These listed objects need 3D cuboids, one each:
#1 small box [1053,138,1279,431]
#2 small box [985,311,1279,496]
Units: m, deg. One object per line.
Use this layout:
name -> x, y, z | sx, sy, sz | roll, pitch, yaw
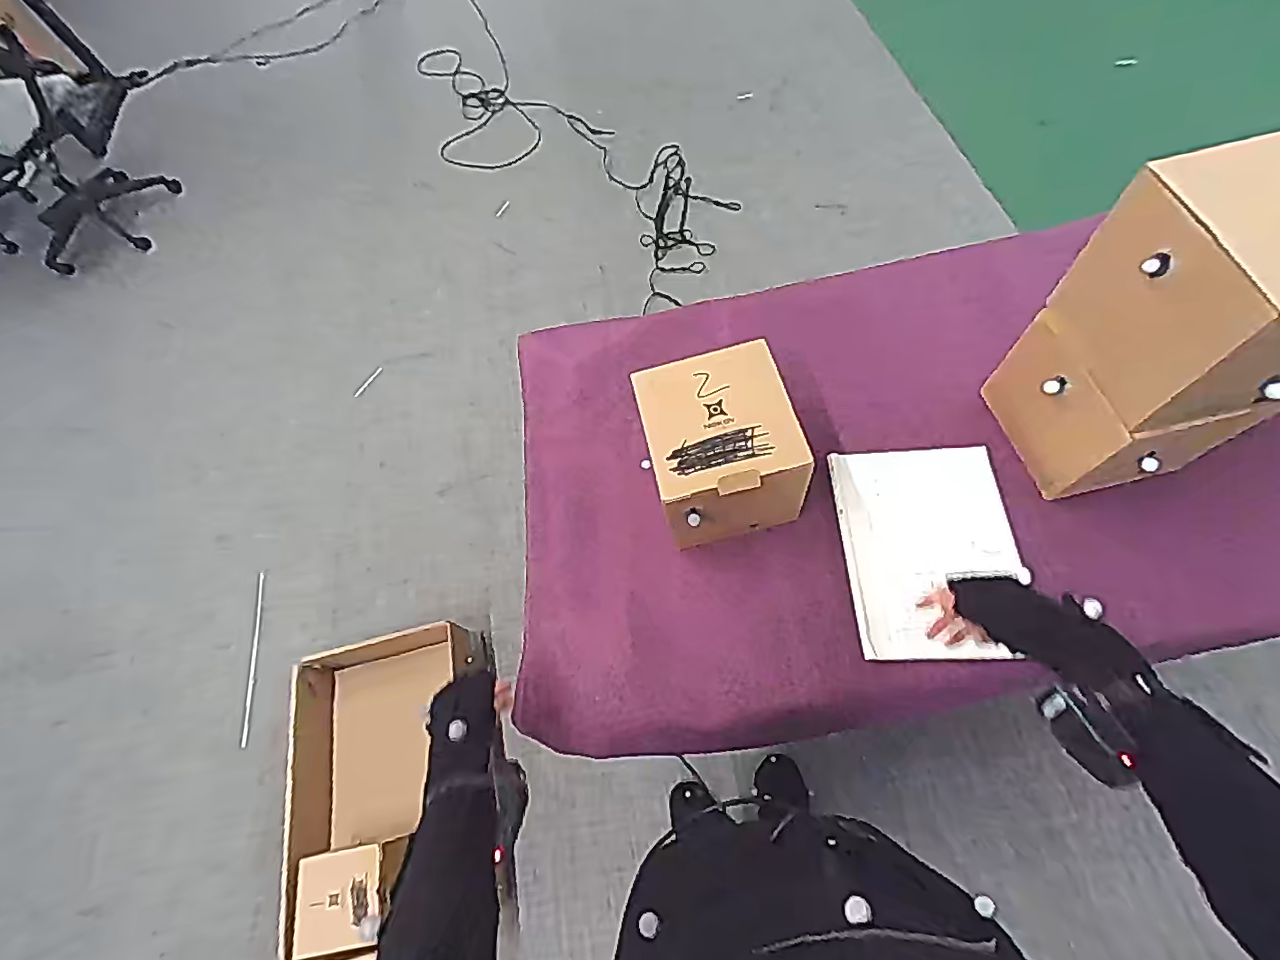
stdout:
small box -> 0.529, -0.170, 0.488 | 0.168, 0.176, 0.179 | -12, 64, 4
small box -> 0.552, -0.095, 0.633 | 0.168, 0.176, 0.179 | -14, 63, 3
